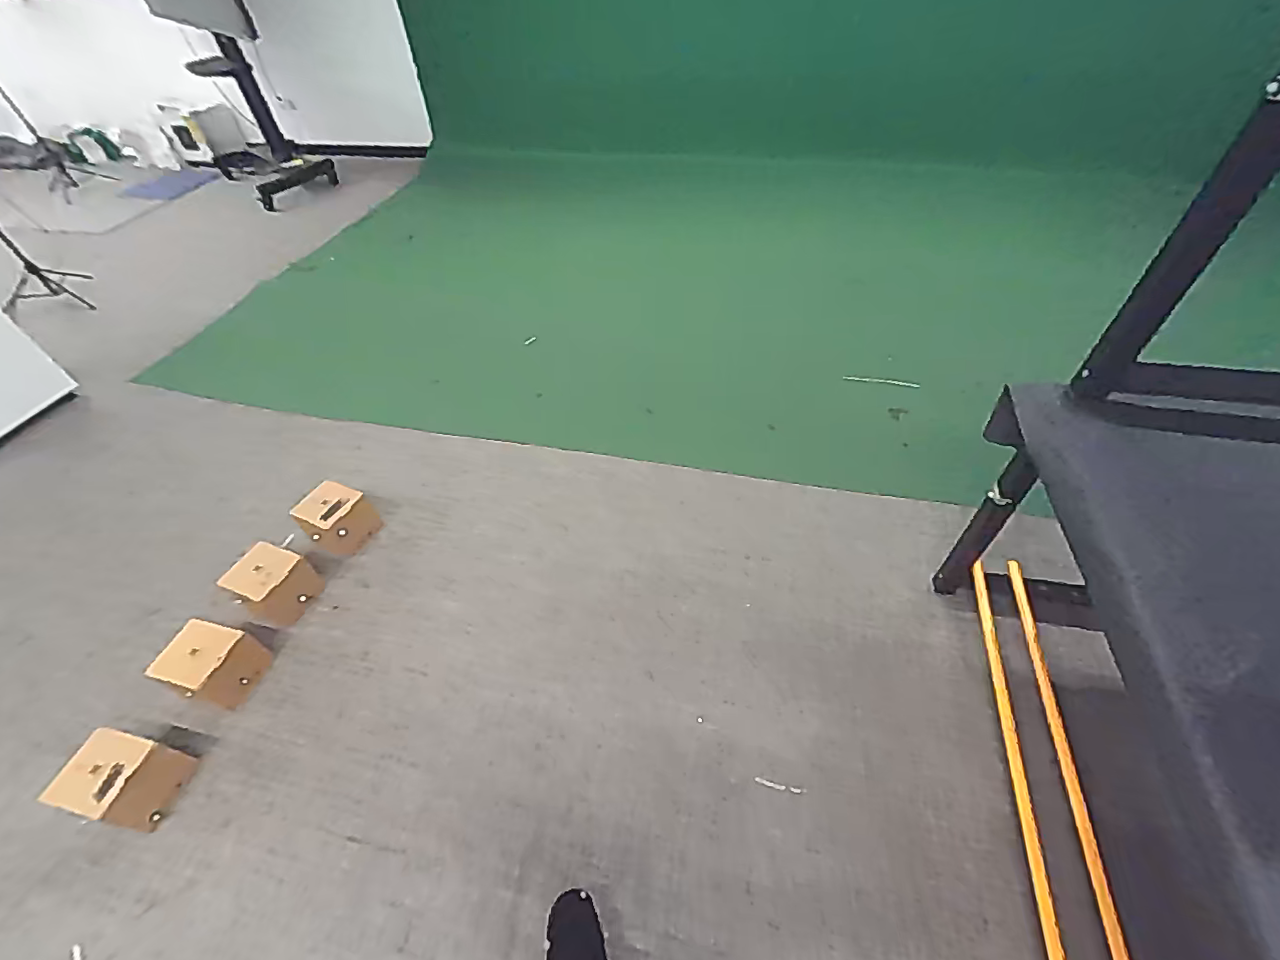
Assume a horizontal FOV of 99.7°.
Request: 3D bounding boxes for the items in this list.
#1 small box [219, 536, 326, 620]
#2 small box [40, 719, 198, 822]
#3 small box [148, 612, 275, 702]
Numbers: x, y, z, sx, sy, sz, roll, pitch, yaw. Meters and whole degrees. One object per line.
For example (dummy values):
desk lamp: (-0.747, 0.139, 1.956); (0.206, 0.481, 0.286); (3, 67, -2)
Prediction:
small box: (-1.117, 0.303, 1.656); (0.179, 0.176, 0.168); (16, 52, 15)
small box: (-1.238, 0.703, 1.303); (0.179, 0.176, 0.168); (8, 49, 11)
small box: (-1.171, 0.492, 1.491); (0.179, 0.176, 0.168); (10, 49, 11)
